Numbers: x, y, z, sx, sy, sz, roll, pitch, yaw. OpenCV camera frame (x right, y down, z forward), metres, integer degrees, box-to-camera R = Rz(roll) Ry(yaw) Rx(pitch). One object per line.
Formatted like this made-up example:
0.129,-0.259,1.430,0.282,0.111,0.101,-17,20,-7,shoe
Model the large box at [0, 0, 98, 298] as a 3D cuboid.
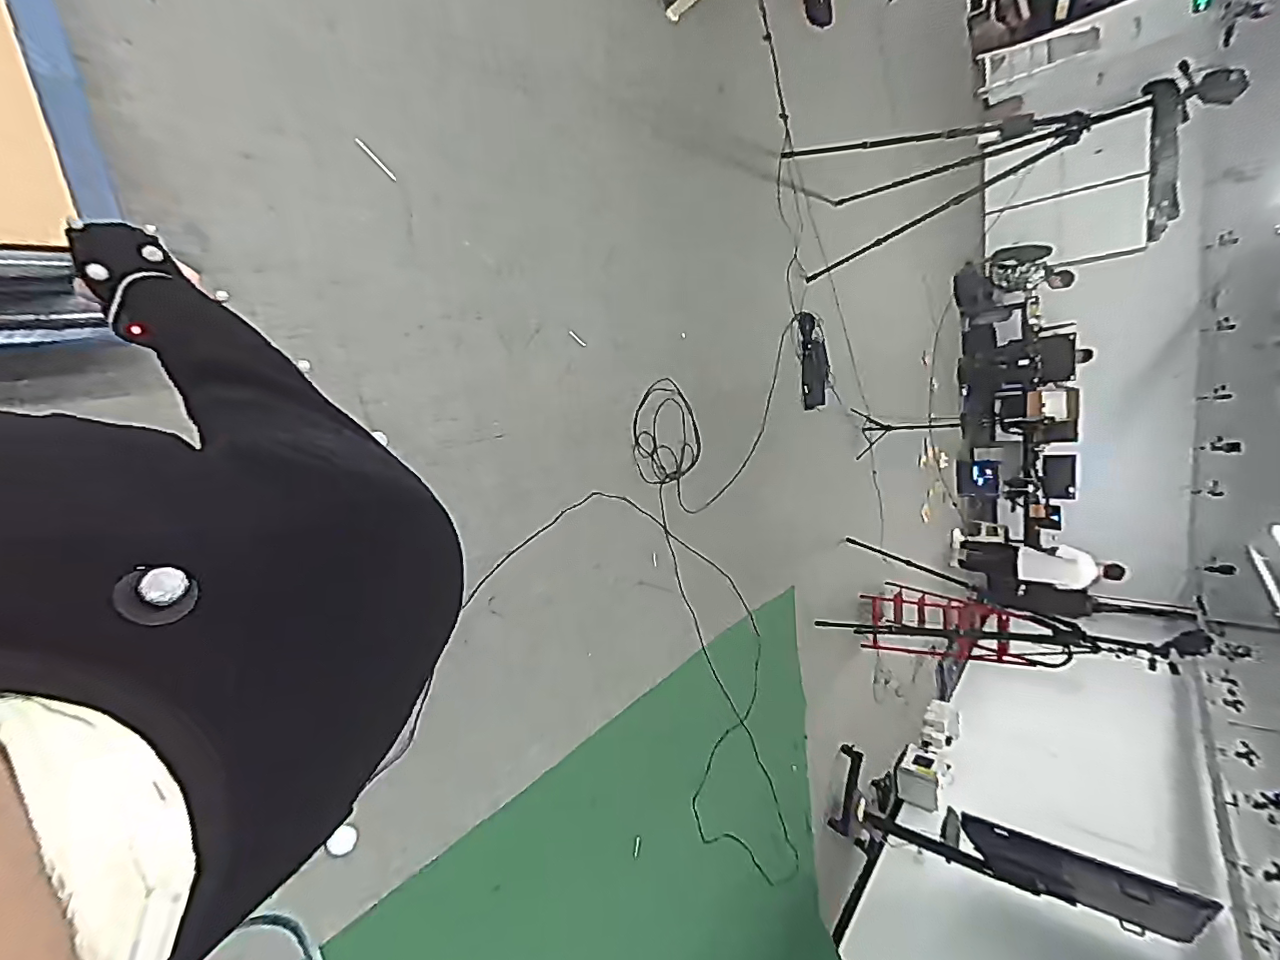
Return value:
-1.084,-0.500,0.794,0.320,0.320,0.408,-22,106,-46,large box
